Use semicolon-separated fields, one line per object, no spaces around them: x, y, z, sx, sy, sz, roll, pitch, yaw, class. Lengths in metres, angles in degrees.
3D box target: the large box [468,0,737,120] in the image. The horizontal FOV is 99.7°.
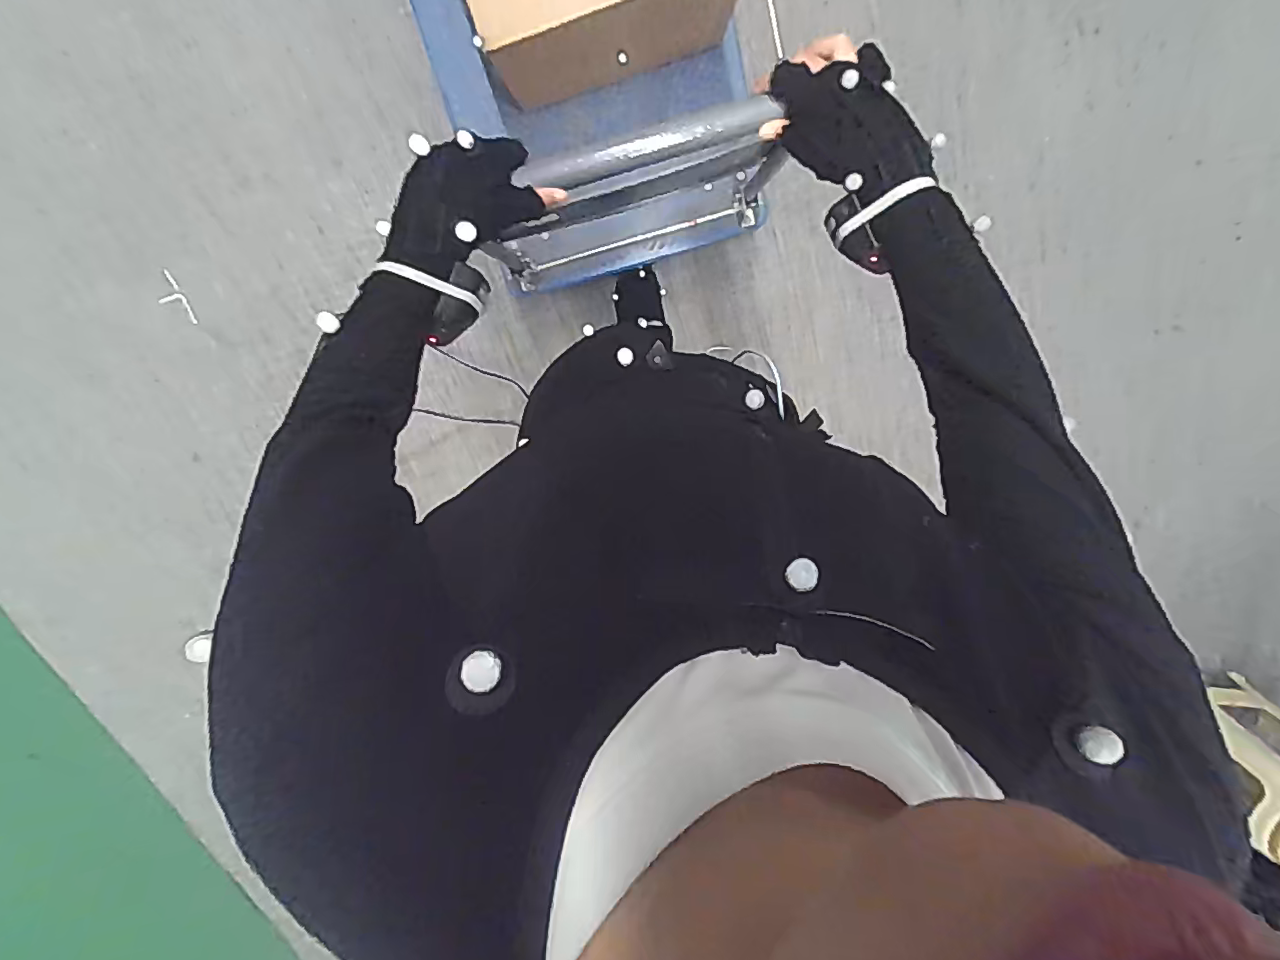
-0.077;-0.858;0.877;0.408;0.320;0.320;-16;108;6;large box
